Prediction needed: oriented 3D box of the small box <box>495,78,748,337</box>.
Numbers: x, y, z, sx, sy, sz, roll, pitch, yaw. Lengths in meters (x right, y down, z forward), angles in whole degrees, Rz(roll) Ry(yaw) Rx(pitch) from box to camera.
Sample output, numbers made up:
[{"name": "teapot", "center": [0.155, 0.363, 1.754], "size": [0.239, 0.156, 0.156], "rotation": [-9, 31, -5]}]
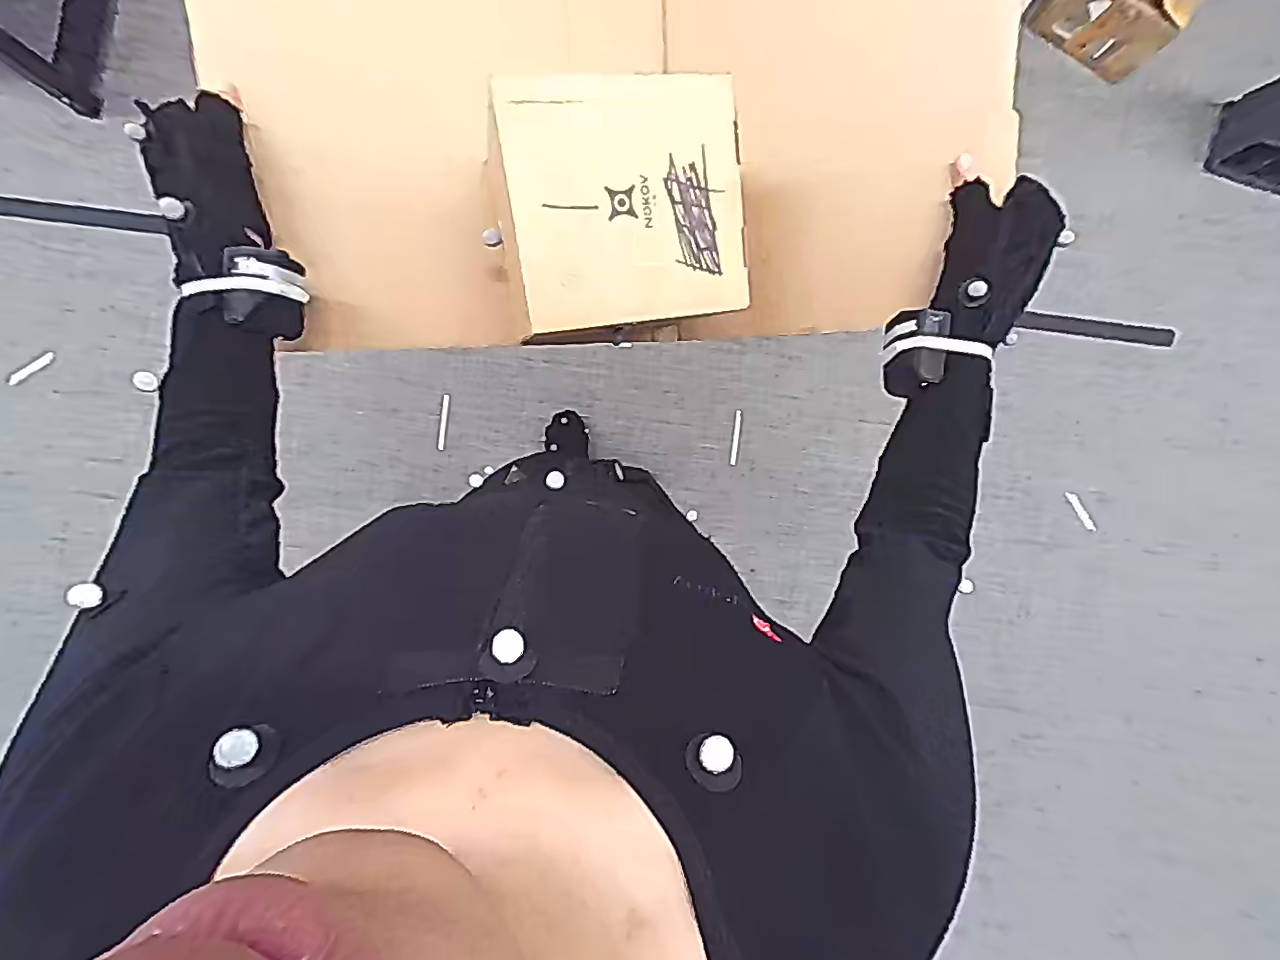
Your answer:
[{"name": "small box", "center": [-0.025, -0.218, 0.471], "size": [0.179, 0.176, 0.168], "rotation": [-11, 105, -13]}]
